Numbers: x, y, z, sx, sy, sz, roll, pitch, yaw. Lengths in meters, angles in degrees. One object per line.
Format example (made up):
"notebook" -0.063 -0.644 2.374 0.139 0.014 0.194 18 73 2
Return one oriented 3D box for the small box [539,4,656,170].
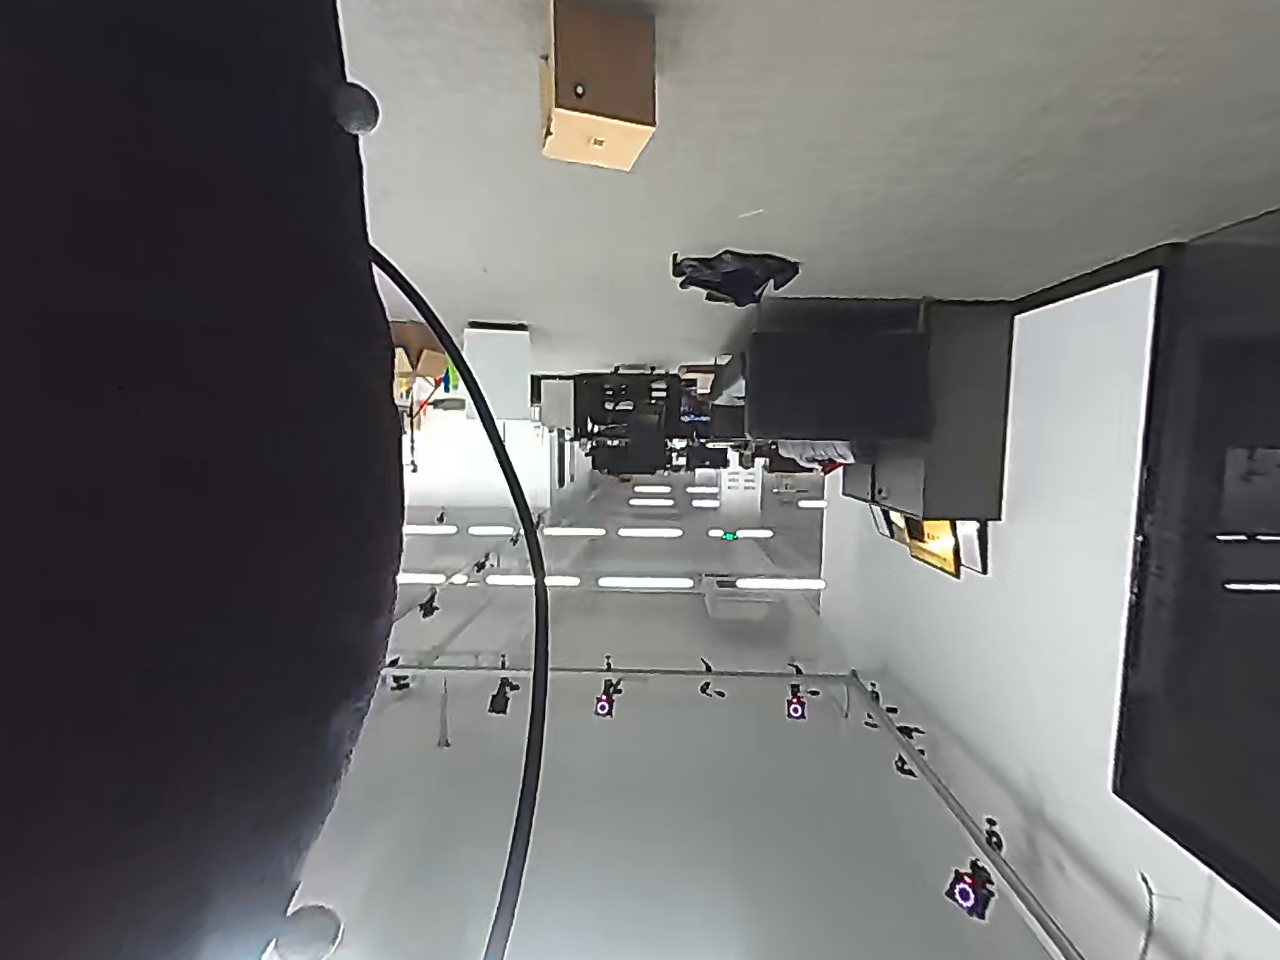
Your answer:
"small box" -0.078 -0.675 0.945 0.179 0.176 0.168 -1 -174 -18
